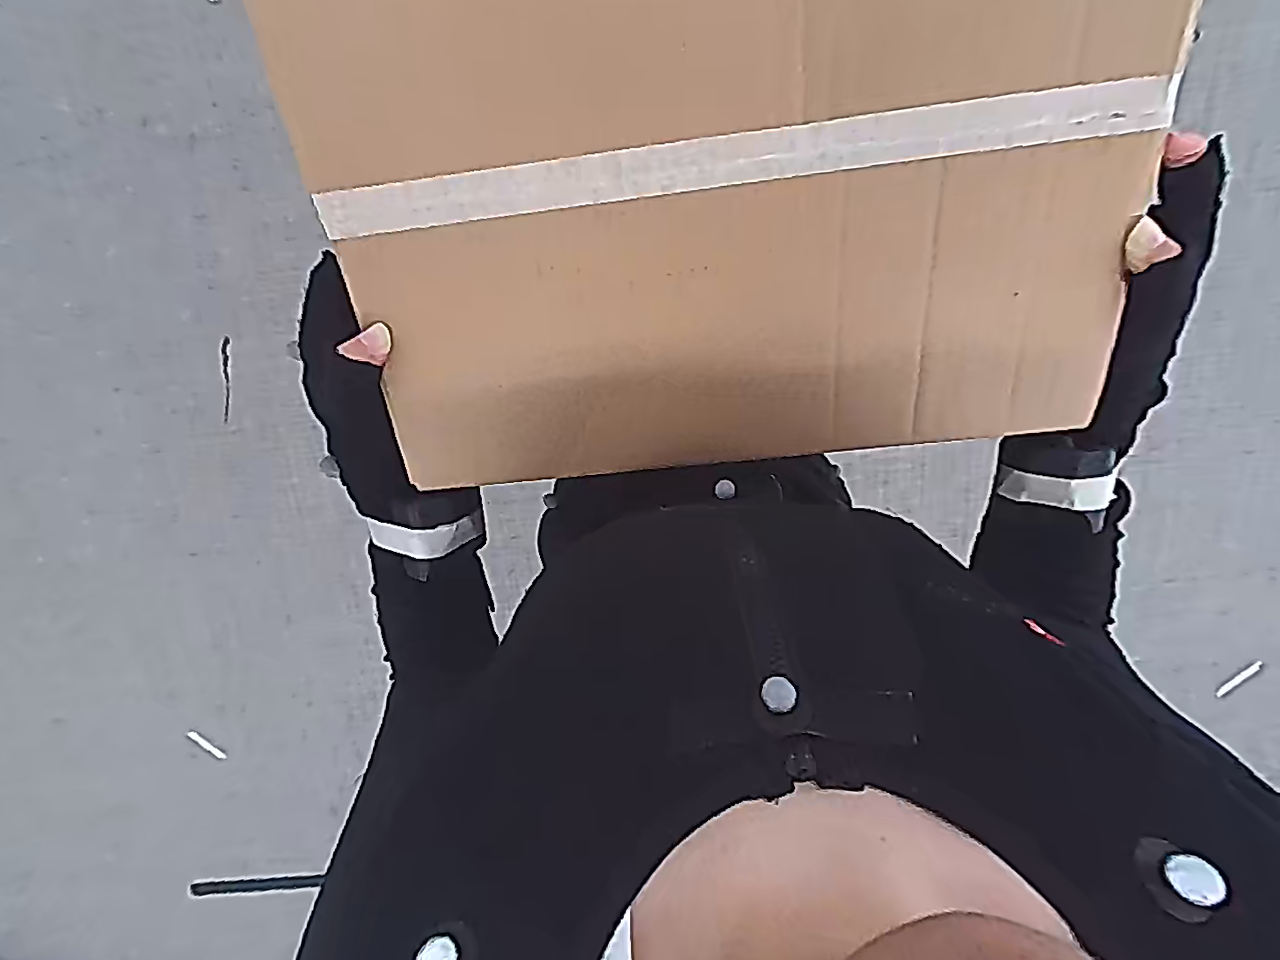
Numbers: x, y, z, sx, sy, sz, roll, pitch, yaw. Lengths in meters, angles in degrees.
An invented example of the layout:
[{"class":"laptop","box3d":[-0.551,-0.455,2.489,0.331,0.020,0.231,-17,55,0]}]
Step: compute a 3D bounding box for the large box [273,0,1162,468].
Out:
[{"class":"large box","box3d":[0.039,-0.228,0.404,0.408,0.320,0.320,-5,116,3]}]
